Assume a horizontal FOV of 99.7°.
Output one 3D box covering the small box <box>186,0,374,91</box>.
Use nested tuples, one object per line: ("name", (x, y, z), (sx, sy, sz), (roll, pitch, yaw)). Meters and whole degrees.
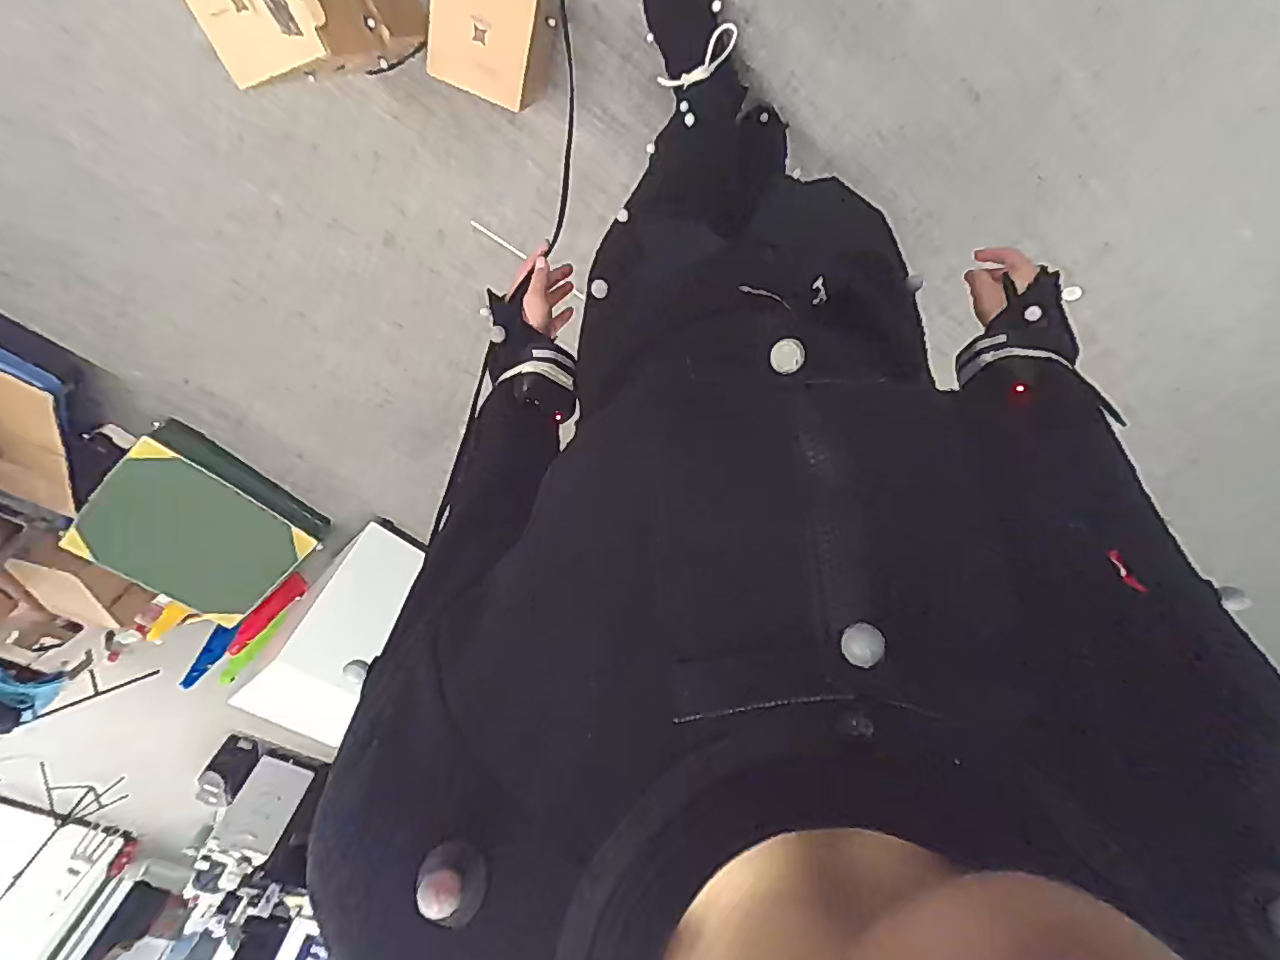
("small box", (-0.531, -0.709, 0.803), (0.179, 0.176, 0.168), (-5, 129, 17))

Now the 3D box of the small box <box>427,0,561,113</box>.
("small box", (-0.244, -0.768, 0.923), (0.168, 0.176, 0.179), (20, 132, -6))

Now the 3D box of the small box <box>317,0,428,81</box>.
("small box", (-0.498, -0.822, 0.920), (0.168, 0.176, 0.179), (-10, 128, 20))
